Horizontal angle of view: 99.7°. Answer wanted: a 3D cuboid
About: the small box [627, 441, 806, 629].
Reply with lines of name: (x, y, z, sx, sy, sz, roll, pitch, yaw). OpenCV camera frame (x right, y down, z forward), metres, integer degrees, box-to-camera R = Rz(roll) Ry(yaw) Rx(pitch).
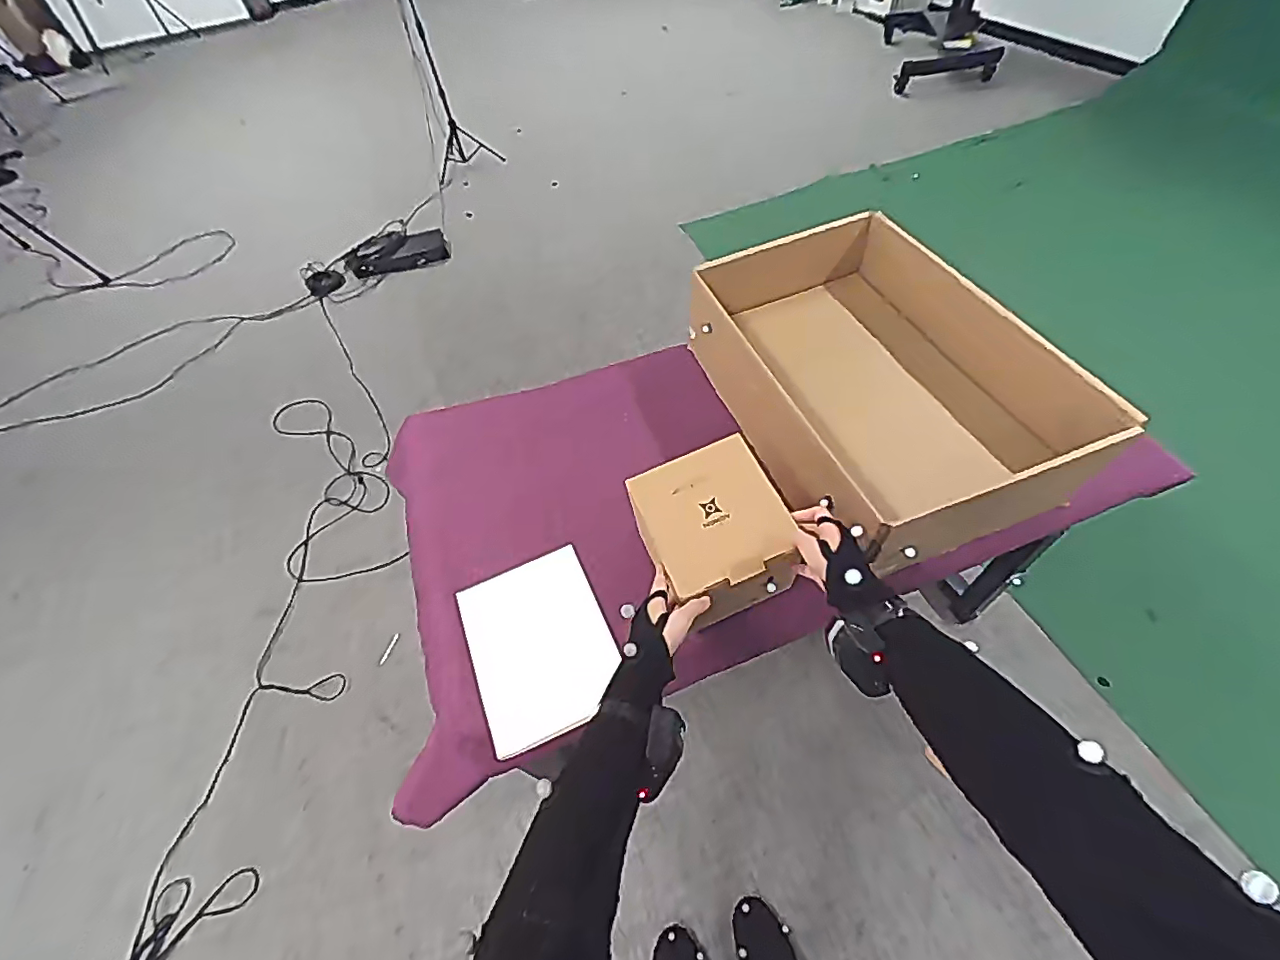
small box: (0.099, 0.085, 0.730, 0.168, 0.176, 0.179, -23, 60, -5)
